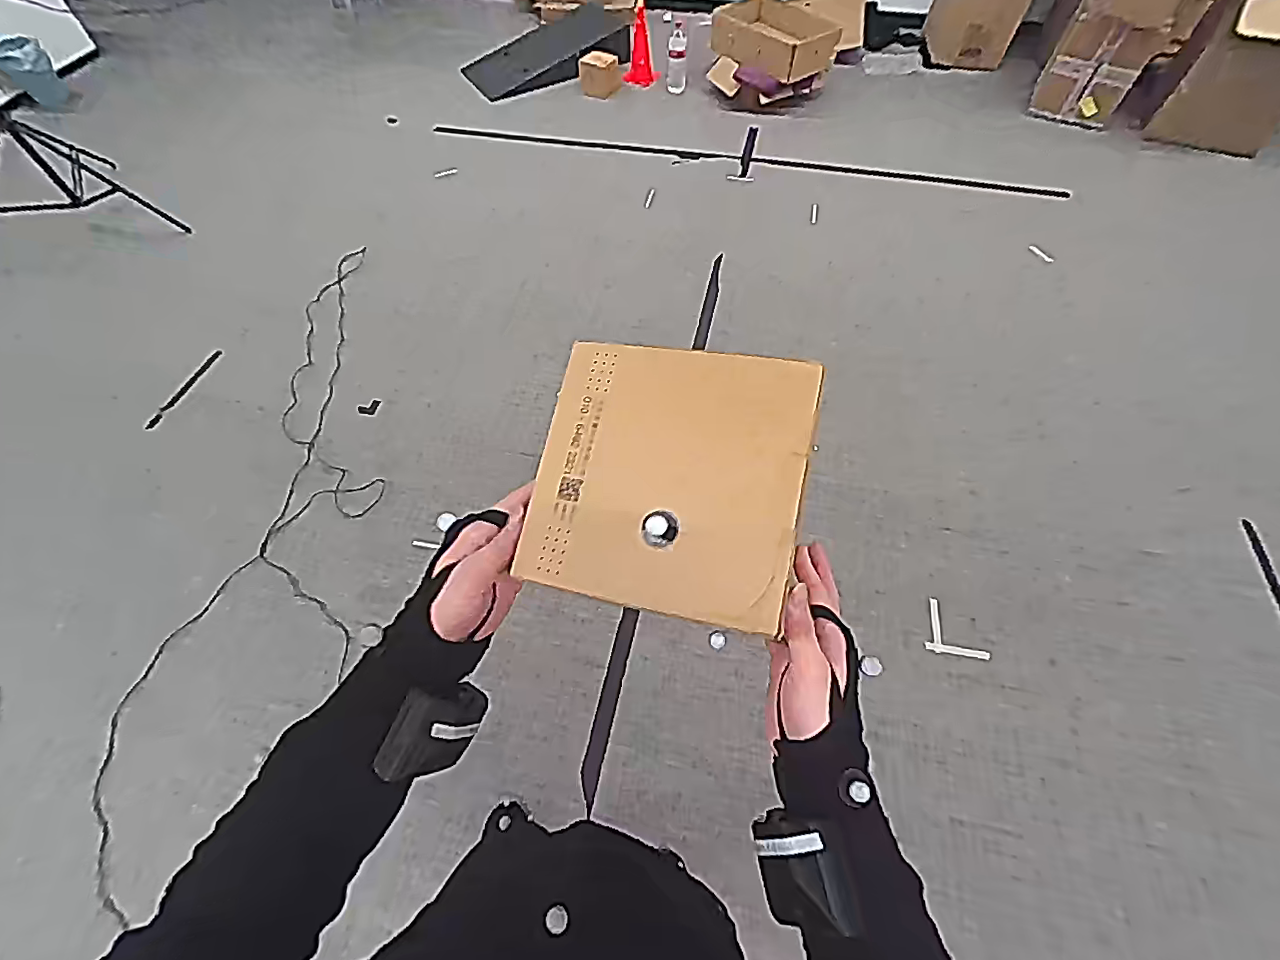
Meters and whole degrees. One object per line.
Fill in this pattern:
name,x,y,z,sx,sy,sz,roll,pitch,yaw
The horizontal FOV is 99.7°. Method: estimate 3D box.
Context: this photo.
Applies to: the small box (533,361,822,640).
small box,0.037,0.020,0.420,0.176,0.179,0.168,10,75,15
